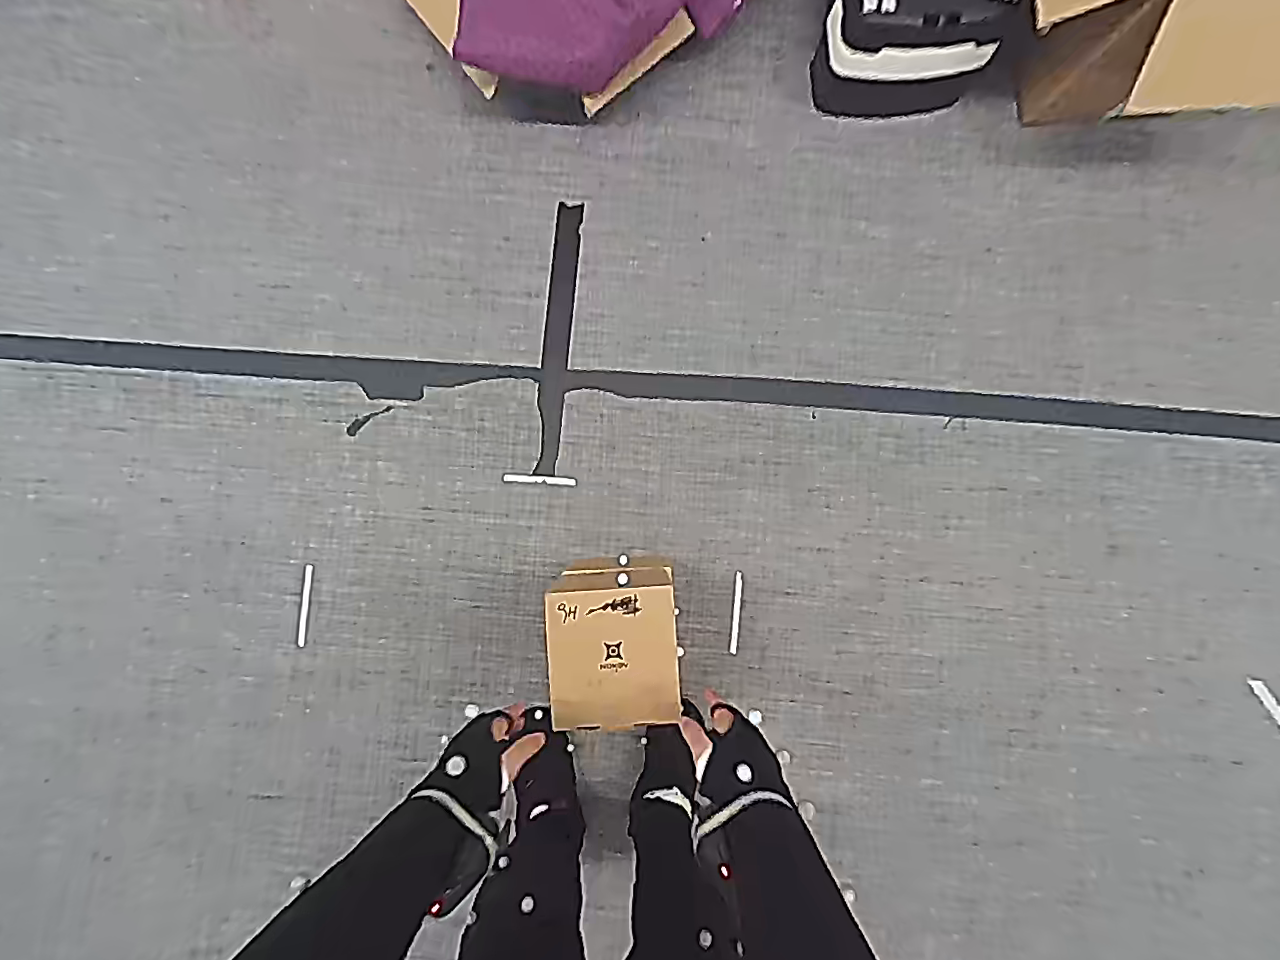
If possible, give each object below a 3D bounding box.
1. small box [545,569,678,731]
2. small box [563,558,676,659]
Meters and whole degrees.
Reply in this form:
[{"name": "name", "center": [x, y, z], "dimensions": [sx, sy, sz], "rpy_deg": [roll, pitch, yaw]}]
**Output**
[{"name": "small box", "center": [-0.035, 0.228, 0.762], "dimensions": [0.168, 0.176, 0.179], "rpy_deg": [-3, 88, -1]}, {"name": "small box", "center": [-0.034, 0.226, 0.925], "dimensions": [0.179, 0.176, 0.168], "rpy_deg": [-2, 87, 0]}]
